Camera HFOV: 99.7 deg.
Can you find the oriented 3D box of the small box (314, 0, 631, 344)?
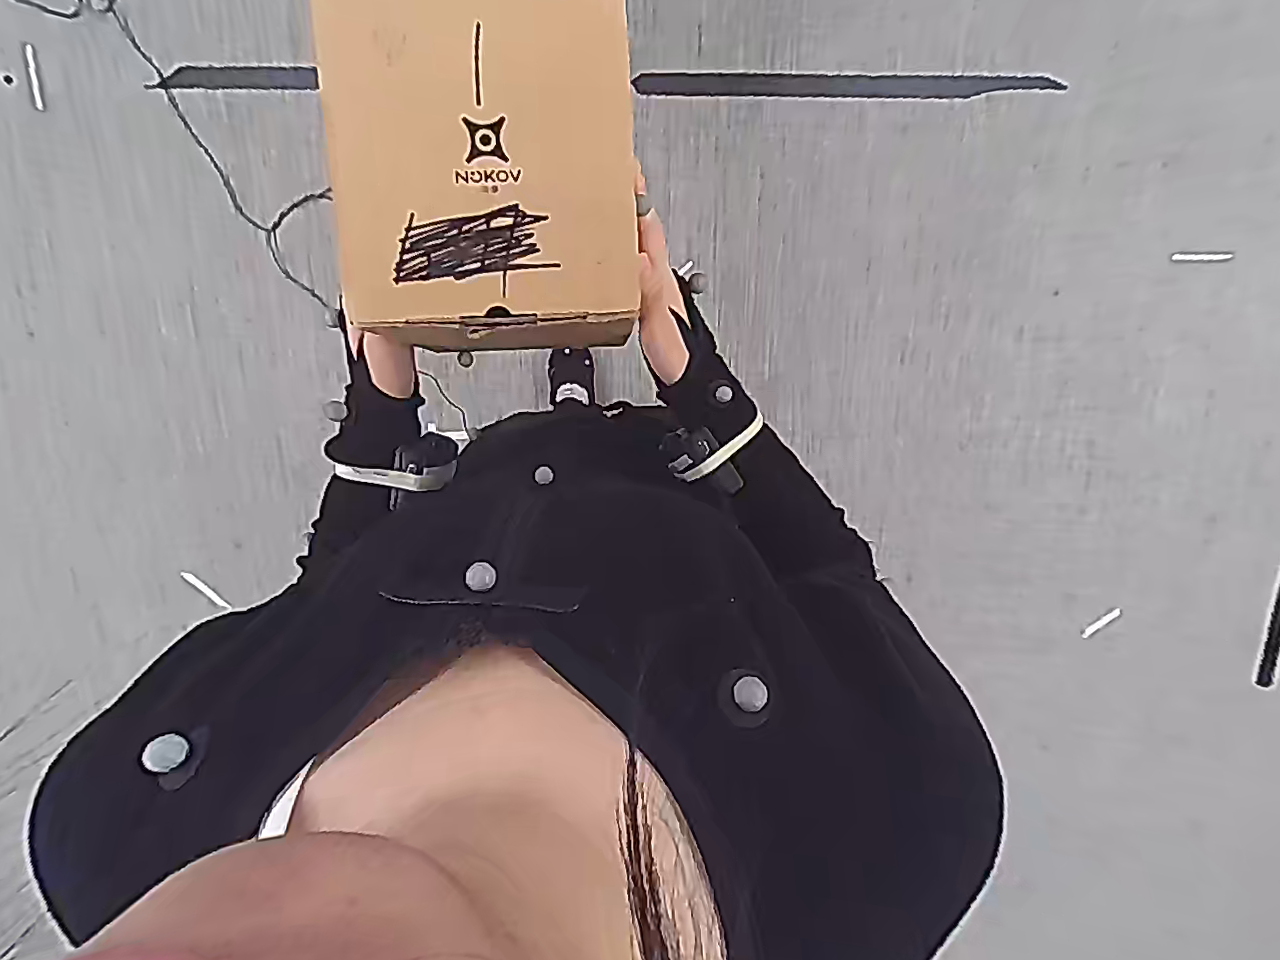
[{"bbox_3d":[-0.093,-0.191,0.379,0.168,0.176,0.179,-3,97,-5],"label":"small box"}]

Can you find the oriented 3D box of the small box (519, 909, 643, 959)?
[{"bbox_3d":[-0.089,0.741,0.751,0.179,0.176,0.168,3,100,-1],"label":"small box"}]

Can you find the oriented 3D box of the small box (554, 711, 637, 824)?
[{"bbox_3d":[-0.096,0.647,1.233,0.179,0.176,0.168,-1,100,1],"label":"small box"}]

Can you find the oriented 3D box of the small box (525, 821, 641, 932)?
[{"bbox_3d":[-0.090,0.710,0.910,0.179,0.176,0.168,3,101,-1],"label":"small box"}]
